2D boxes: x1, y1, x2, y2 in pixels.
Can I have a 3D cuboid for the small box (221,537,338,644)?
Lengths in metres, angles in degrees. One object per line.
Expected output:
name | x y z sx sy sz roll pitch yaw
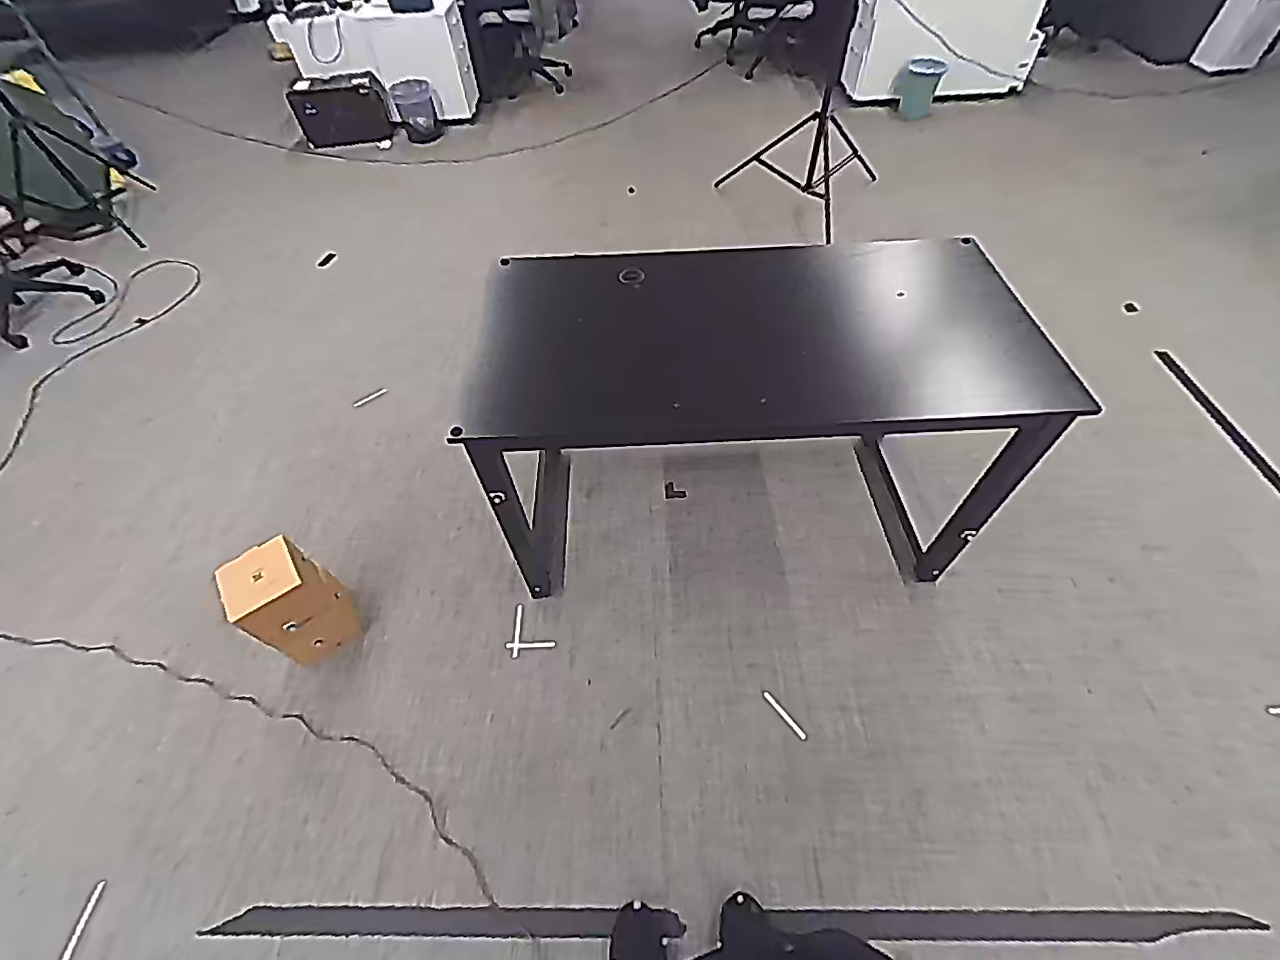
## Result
small box | -0.912 0.285 1.376 0.168 0.176 0.179 -33 60 -19

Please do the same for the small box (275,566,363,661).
small box | -0.904 0.380 1.508 0.168 0.176 0.179 -27 56 -19
